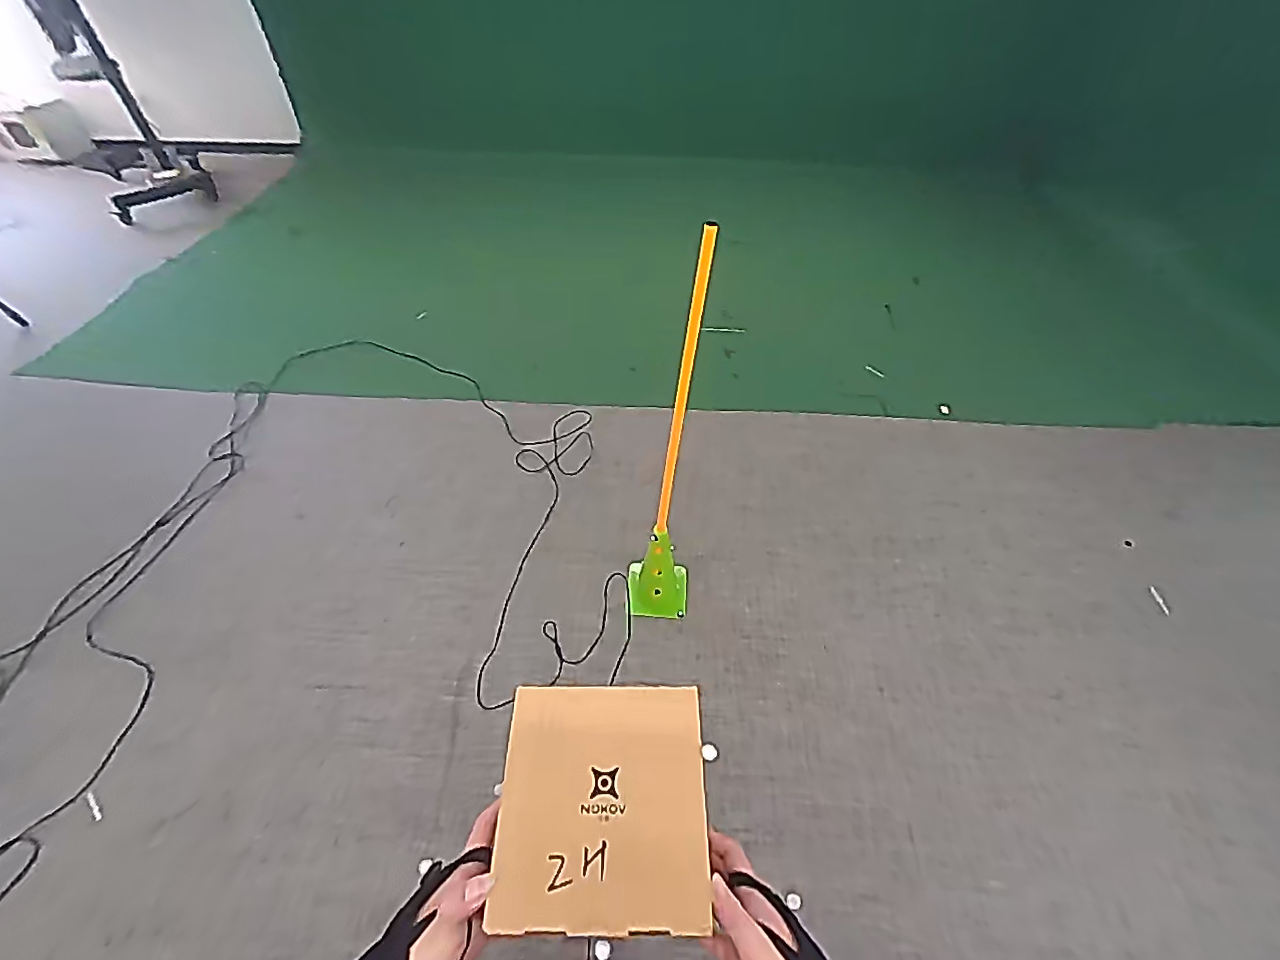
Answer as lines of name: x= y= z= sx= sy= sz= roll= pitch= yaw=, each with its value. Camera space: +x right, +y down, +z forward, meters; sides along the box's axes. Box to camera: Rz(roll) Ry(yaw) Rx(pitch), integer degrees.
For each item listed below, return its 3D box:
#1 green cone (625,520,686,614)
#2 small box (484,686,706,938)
green cone: x=0.053 y=0.249 z=1.714 sx=0.202 sy=0.368 sz=0.200 roll=3 pitch=48 yaw=3
small box: x=-0.032 y=0.311 z=0.505 sx=0.168 sy=0.176 sz=0.179 roll=1 pitch=51 yaw=1
